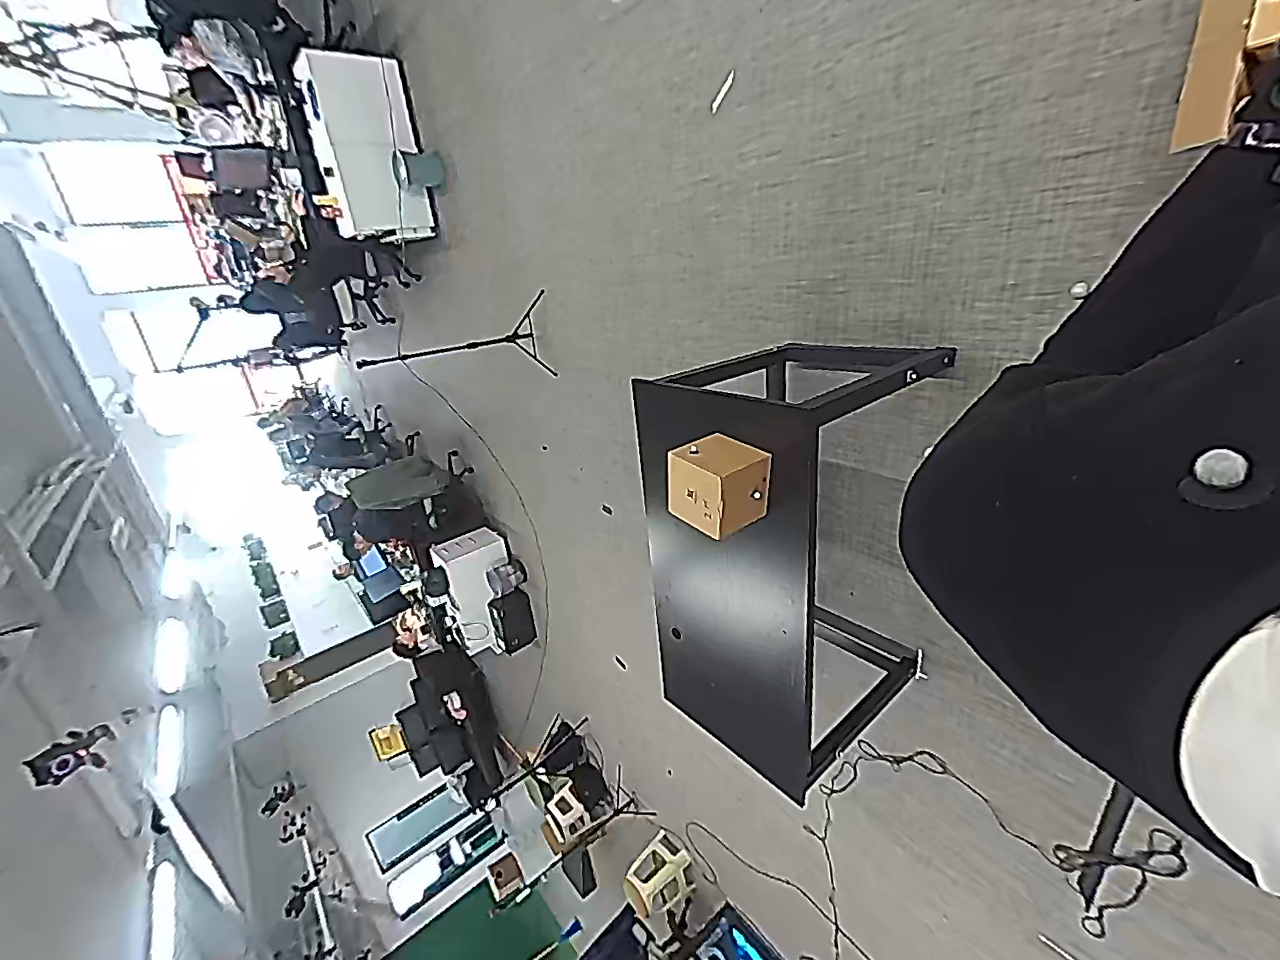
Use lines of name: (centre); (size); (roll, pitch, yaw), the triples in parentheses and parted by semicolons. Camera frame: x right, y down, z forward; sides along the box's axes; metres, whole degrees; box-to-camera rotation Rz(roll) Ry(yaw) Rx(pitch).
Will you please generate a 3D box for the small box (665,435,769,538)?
small box: (0.179, 0.006, 1.281); (0.179, 0.176, 0.168); (29, 132, 43)
